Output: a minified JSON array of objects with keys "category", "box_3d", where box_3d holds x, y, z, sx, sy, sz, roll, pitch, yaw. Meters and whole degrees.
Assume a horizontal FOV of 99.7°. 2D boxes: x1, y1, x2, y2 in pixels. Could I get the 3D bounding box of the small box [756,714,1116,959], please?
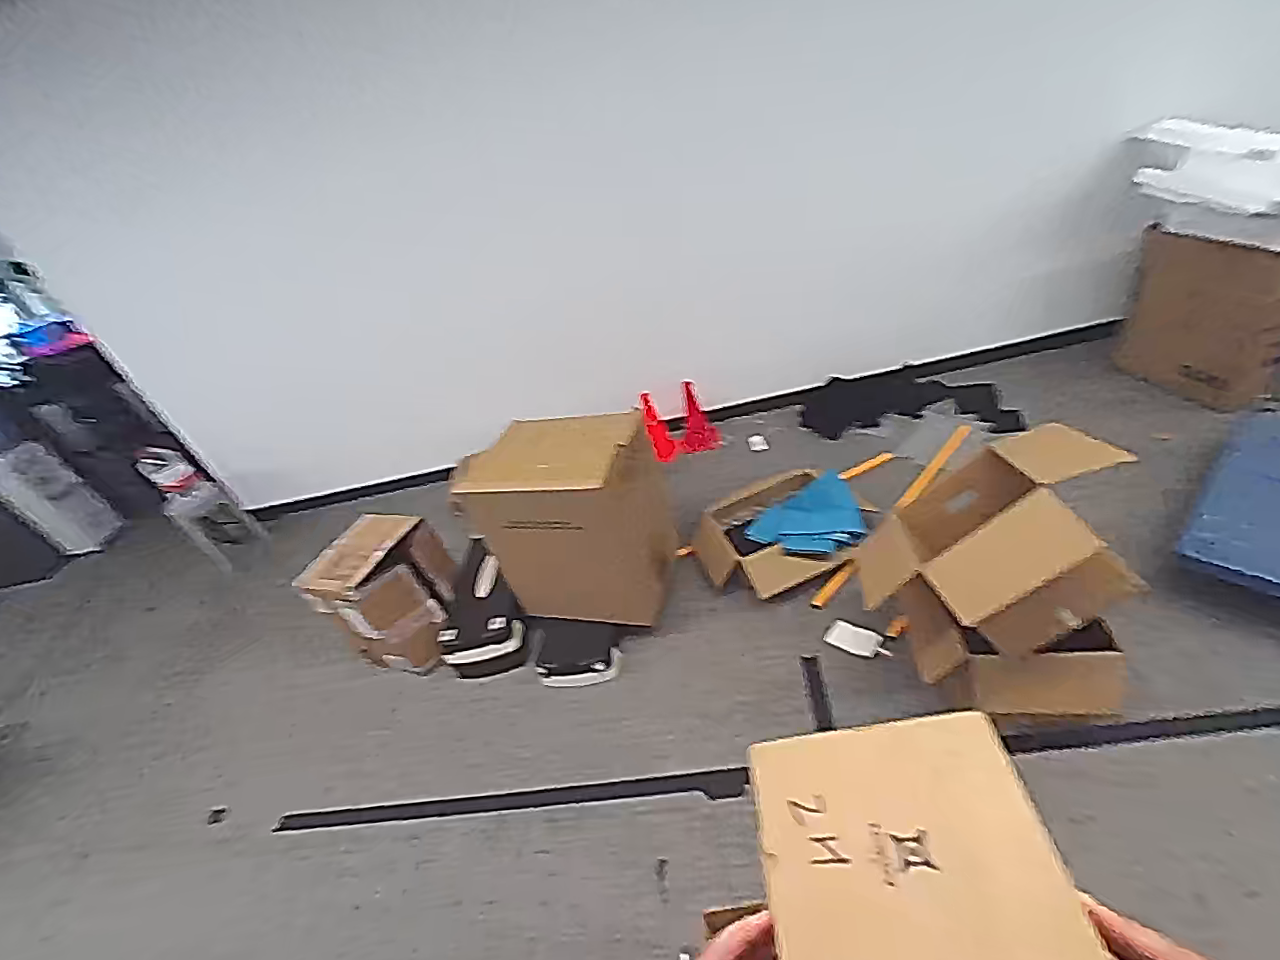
[{"category":"small box","box_3d":[0.195,0.298,0.388,0.179,0.176,0.168,-15,34,14]}]
